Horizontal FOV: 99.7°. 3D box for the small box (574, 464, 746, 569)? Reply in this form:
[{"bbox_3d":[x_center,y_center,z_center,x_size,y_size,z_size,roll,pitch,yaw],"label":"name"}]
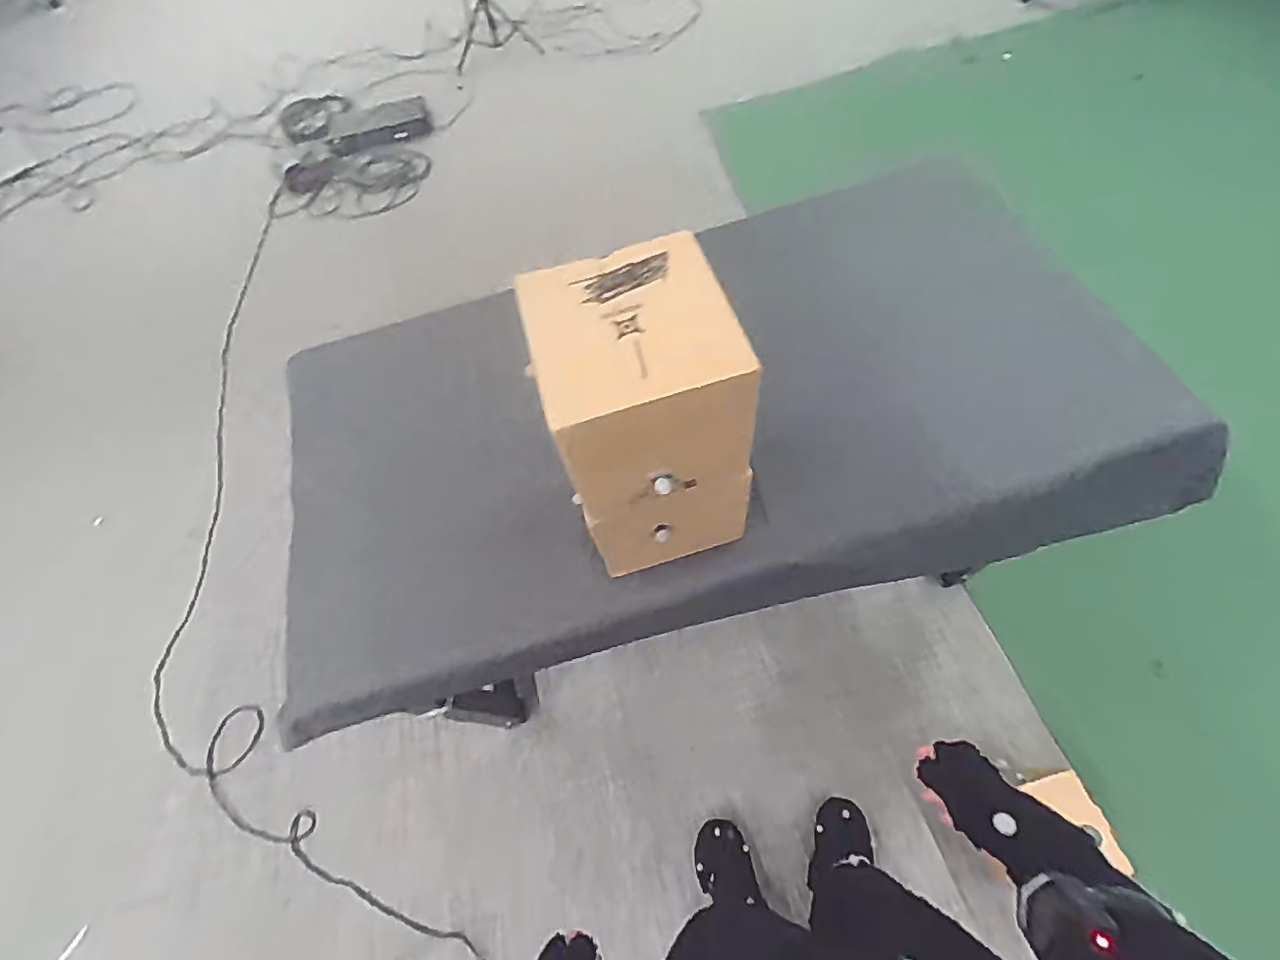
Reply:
[{"bbox_3d":[0.018,-0.009,0.654,0.179,0.176,0.168,-16,61,-2],"label":"small box"}]

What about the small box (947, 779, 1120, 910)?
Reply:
[{"bbox_3d":[0.735,0.684,1.036,0.179,0.176,0.168,-17,61,-1],"label":"small box"}]

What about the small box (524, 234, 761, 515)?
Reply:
[{"bbox_3d":[0.001,-0.092,0.513,0.168,0.176,0.179,-15,61,-2],"label":"small box"}]
